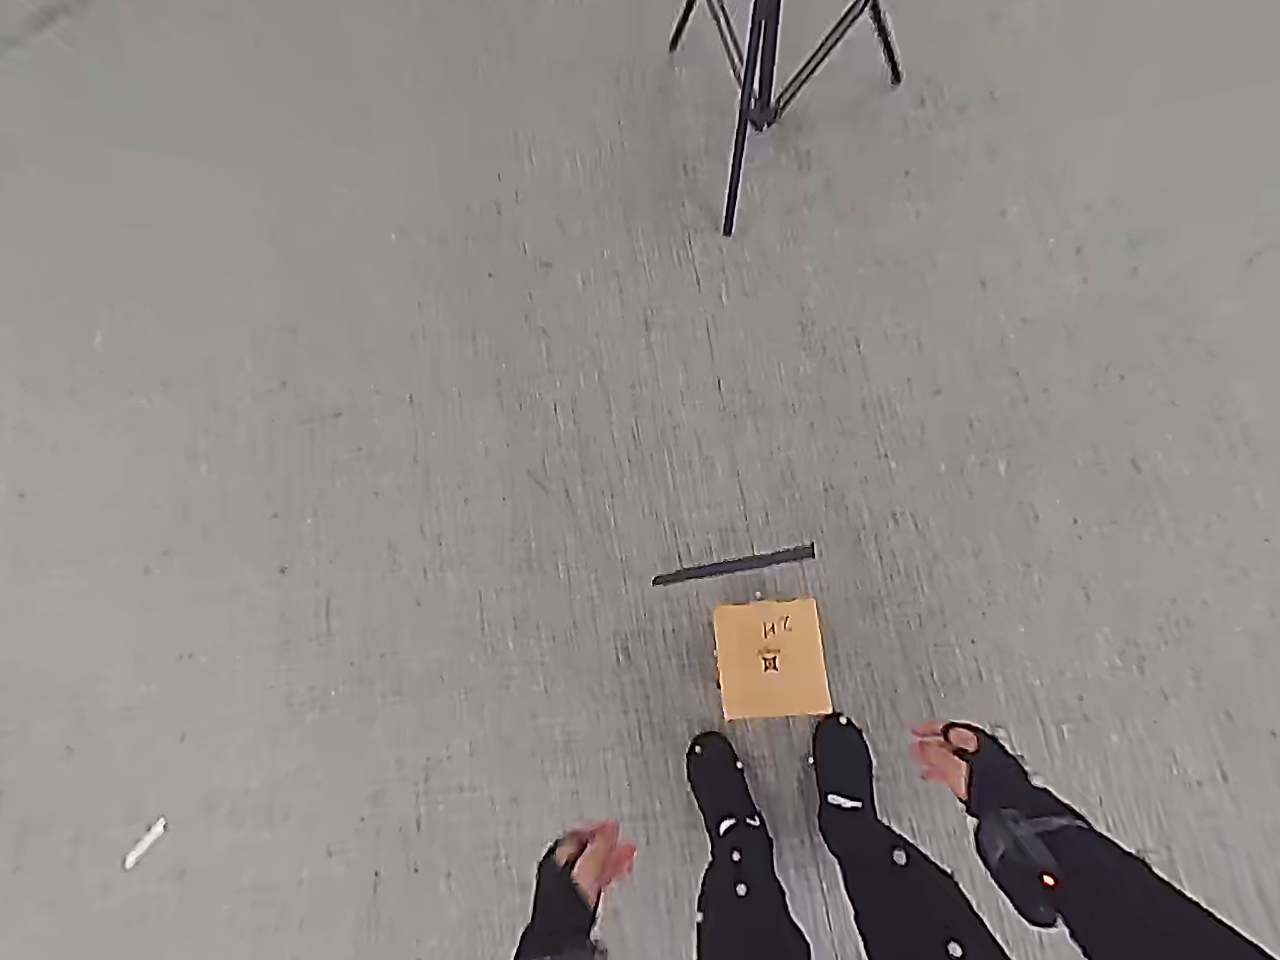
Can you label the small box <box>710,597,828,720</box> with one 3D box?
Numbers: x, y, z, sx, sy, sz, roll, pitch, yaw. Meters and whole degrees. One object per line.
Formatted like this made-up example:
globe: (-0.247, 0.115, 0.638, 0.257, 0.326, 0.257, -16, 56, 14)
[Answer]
small box: (0.212, 0.295, 0.922, 0.168, 0.176, 0.179, -6, 77, 7)
